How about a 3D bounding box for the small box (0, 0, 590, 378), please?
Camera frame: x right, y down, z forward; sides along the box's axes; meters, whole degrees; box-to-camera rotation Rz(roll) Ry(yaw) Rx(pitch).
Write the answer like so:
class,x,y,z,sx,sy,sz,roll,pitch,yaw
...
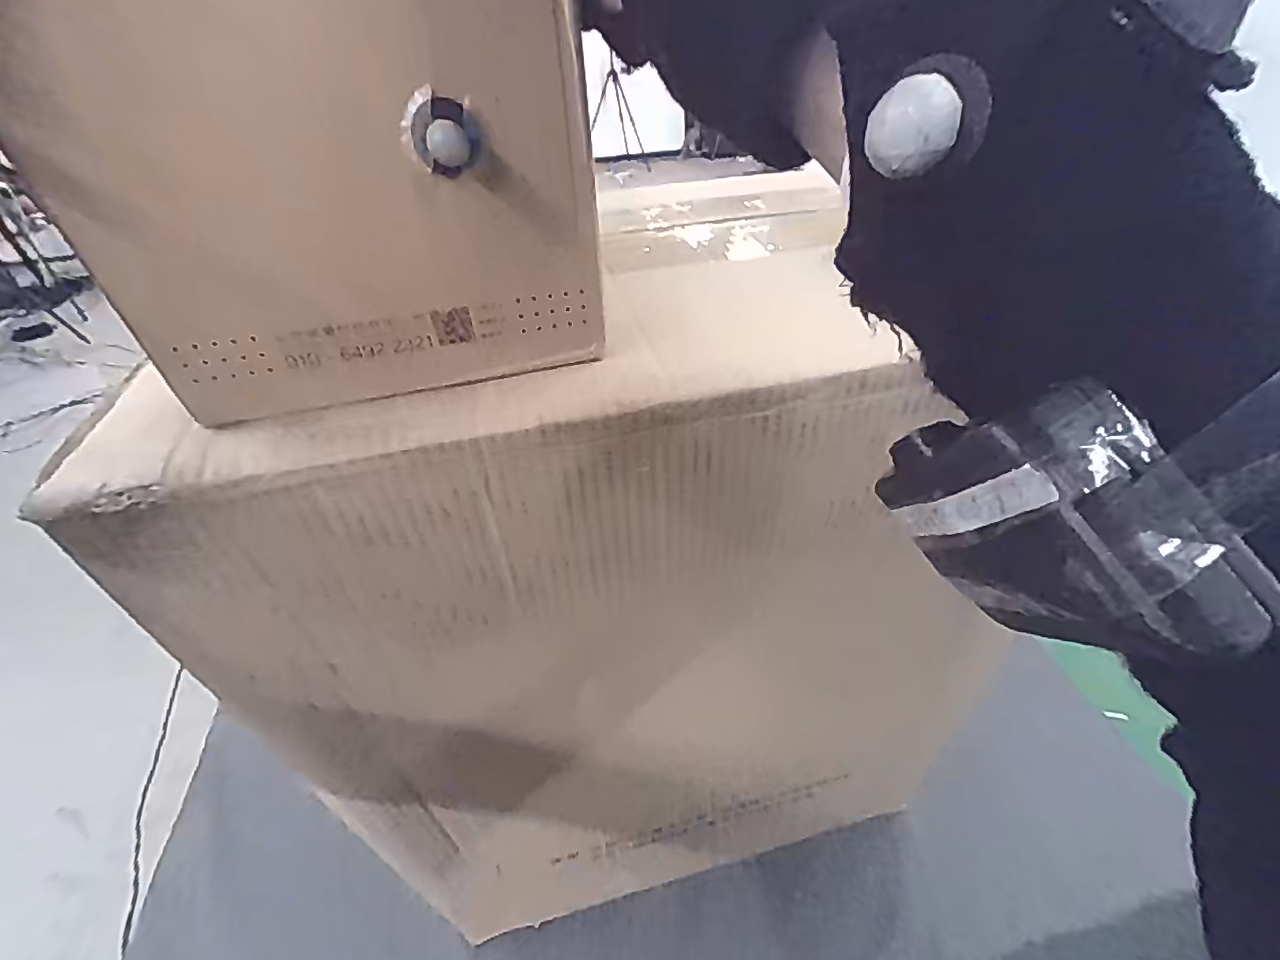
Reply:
class,x,y,z,sx,sy,sz,roll,pitch,yaw
small box,-0.126,-0.158,0.229,0.168,0.176,0.179,-16,45,-12
